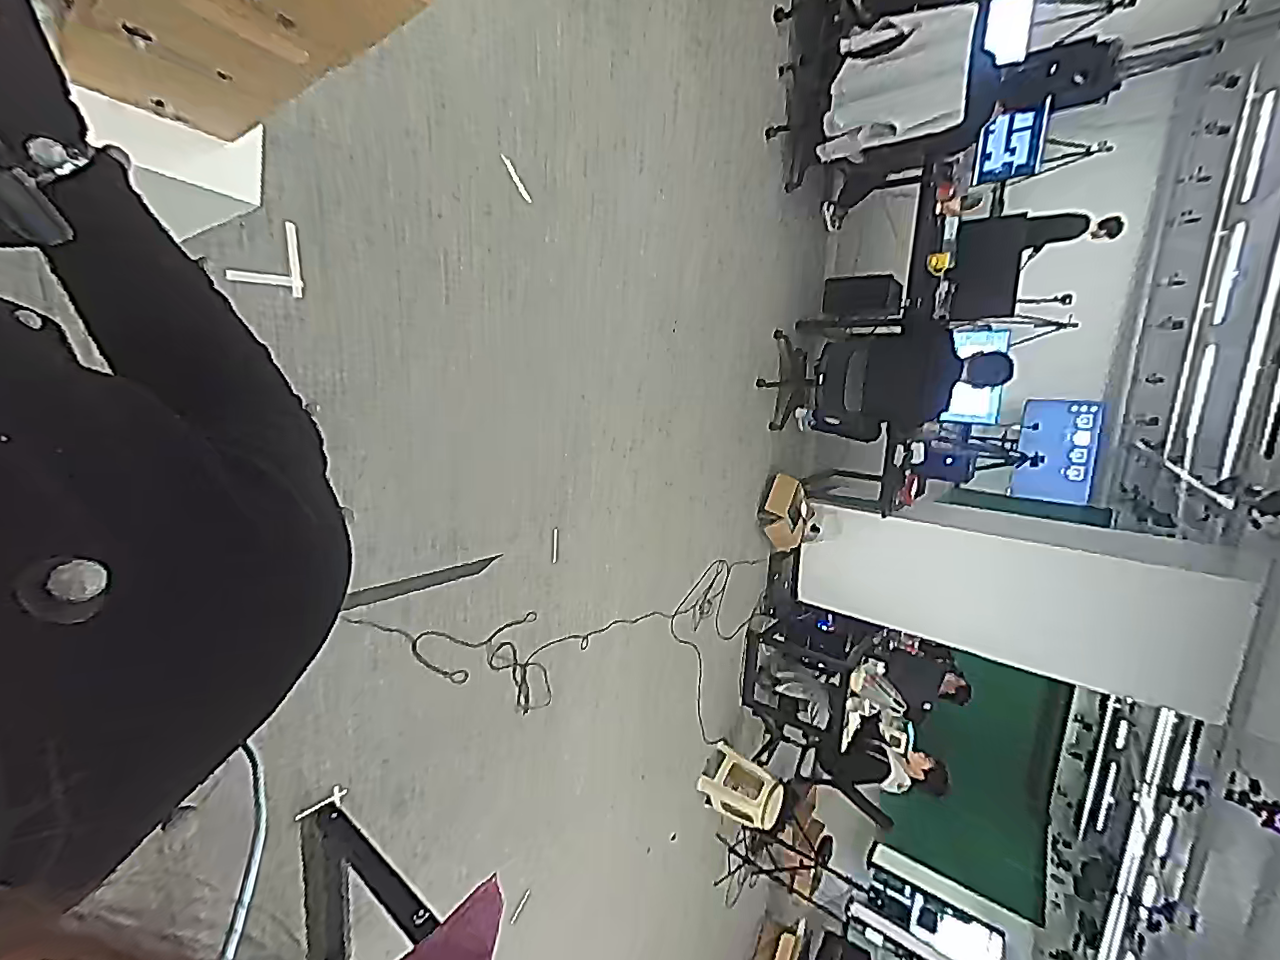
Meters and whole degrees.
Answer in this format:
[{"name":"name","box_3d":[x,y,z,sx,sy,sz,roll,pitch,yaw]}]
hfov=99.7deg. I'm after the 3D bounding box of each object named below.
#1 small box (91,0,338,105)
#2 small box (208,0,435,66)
[{"name":"small box","box_3d":[-0.406,-0.506,0.520,0.168,0.176,0.179,-4,101,-52]},{"name":"small box","box_3d":[-0.277,-0.482,0.424,0.168,0.176,0.179,-5,102,-52]}]
